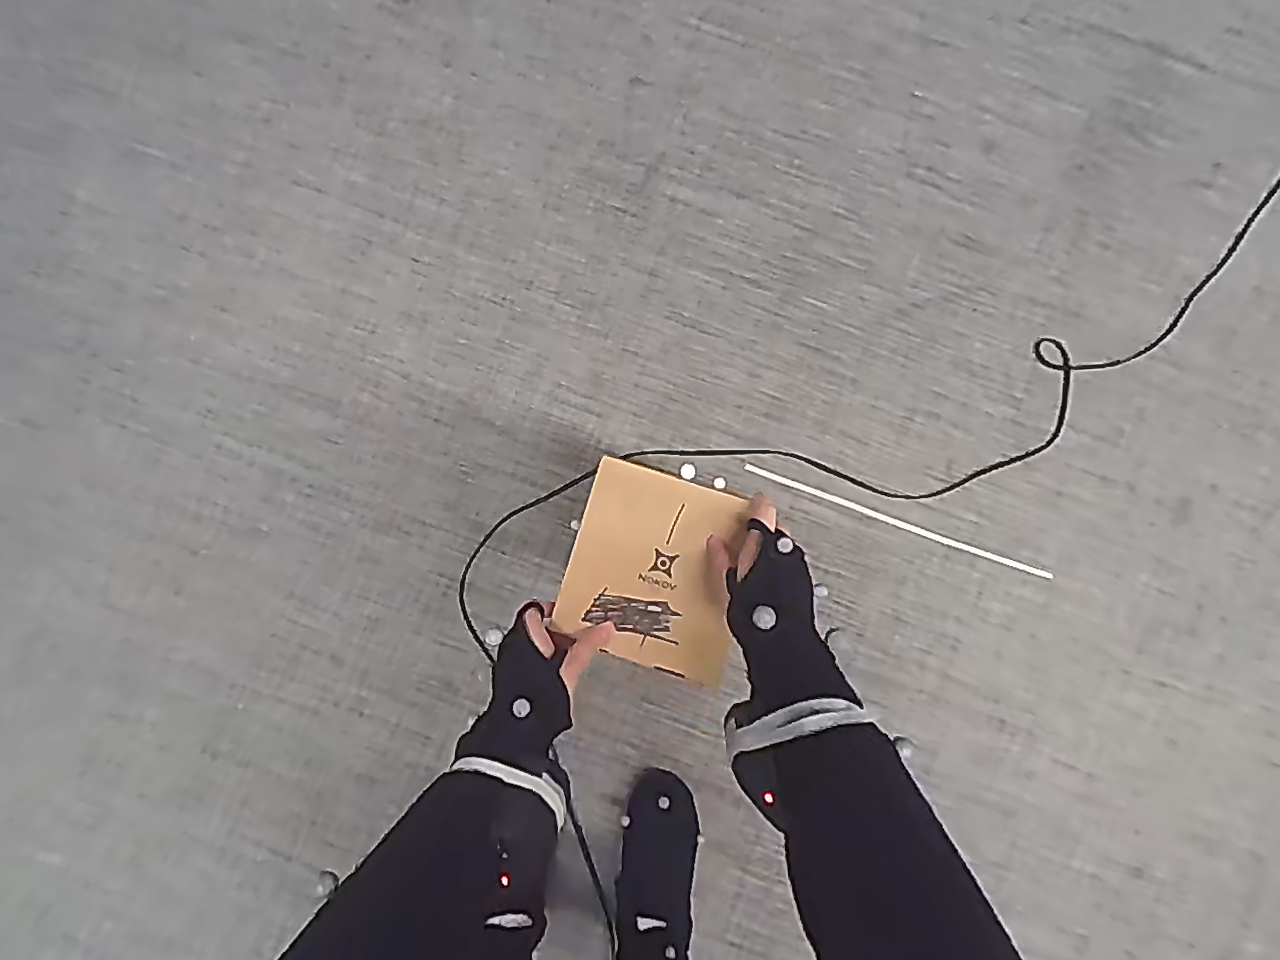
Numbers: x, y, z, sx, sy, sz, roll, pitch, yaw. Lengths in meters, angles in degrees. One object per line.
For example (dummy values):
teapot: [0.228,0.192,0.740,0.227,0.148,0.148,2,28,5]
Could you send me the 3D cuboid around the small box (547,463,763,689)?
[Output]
small box: [0.015,0.089,0.582,0.168,0.176,0.179,17,90,1]
